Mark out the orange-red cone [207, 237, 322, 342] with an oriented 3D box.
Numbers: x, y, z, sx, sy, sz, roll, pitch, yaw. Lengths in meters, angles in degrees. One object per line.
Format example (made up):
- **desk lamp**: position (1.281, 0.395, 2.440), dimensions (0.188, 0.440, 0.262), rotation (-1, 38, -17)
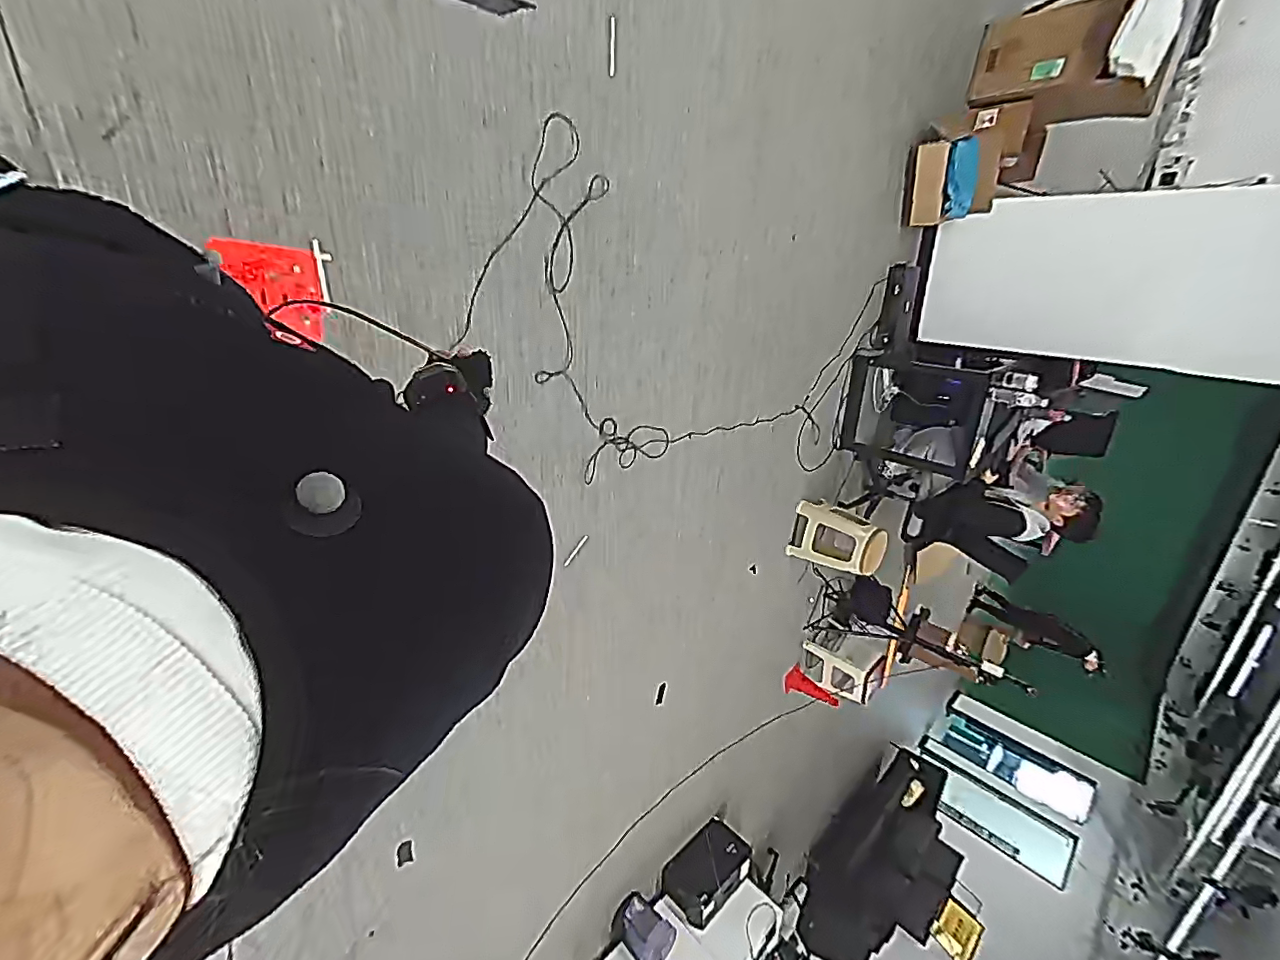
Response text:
- **orange-red cone**: position (-0.687, -0.356, 1.048), dimensions (0.199, 0.360, 0.198), rotation (-8, 111, -43)
